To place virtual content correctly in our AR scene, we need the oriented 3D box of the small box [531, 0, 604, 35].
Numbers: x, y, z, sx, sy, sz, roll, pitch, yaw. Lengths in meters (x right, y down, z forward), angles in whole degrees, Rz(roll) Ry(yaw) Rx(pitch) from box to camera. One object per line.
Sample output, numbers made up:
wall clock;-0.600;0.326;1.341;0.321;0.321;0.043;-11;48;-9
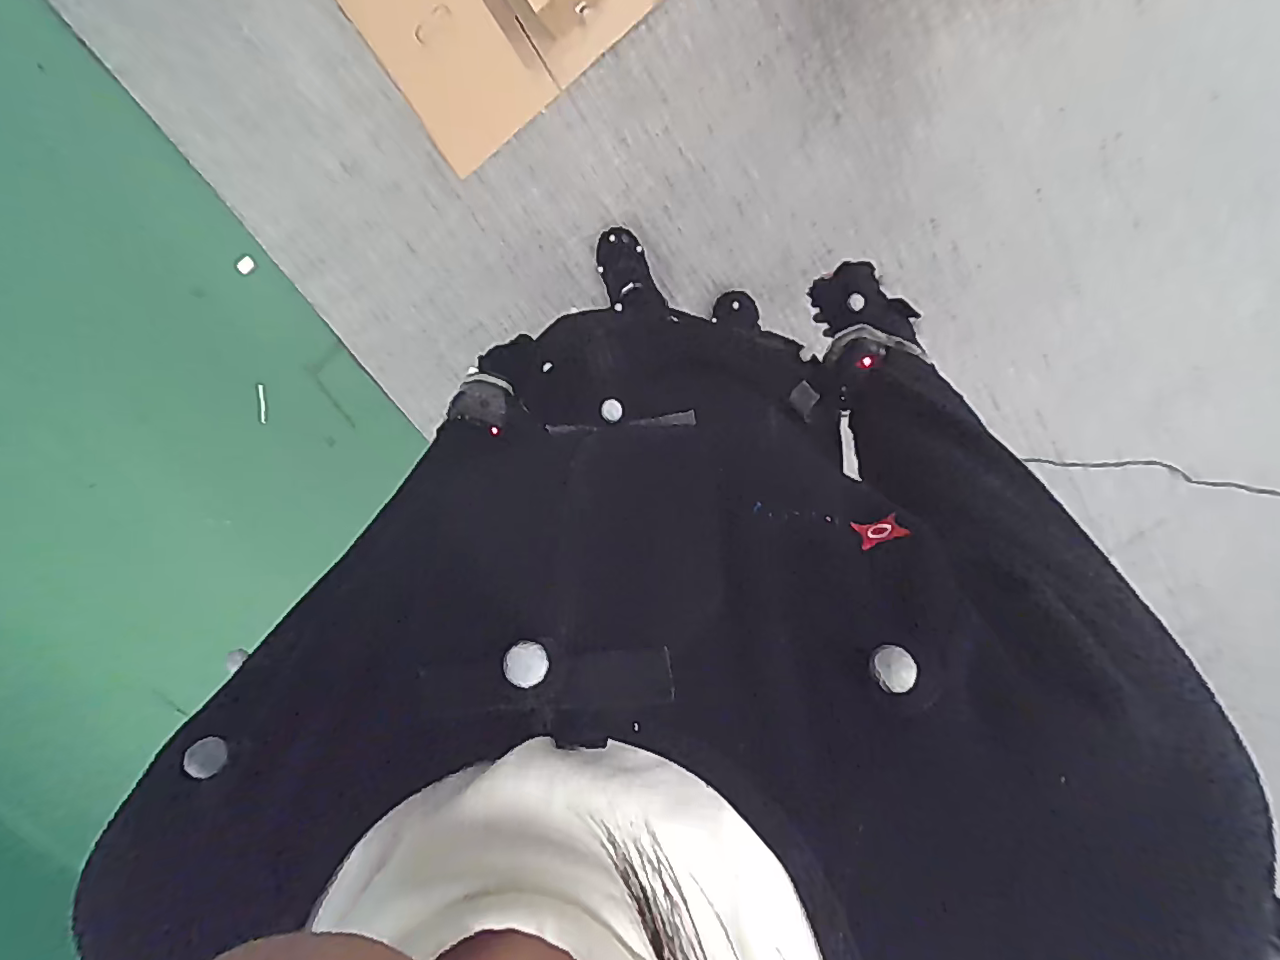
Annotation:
small box;-0.151;-0.966;0.976;0.168;0.176;0.179;-31;108;22
